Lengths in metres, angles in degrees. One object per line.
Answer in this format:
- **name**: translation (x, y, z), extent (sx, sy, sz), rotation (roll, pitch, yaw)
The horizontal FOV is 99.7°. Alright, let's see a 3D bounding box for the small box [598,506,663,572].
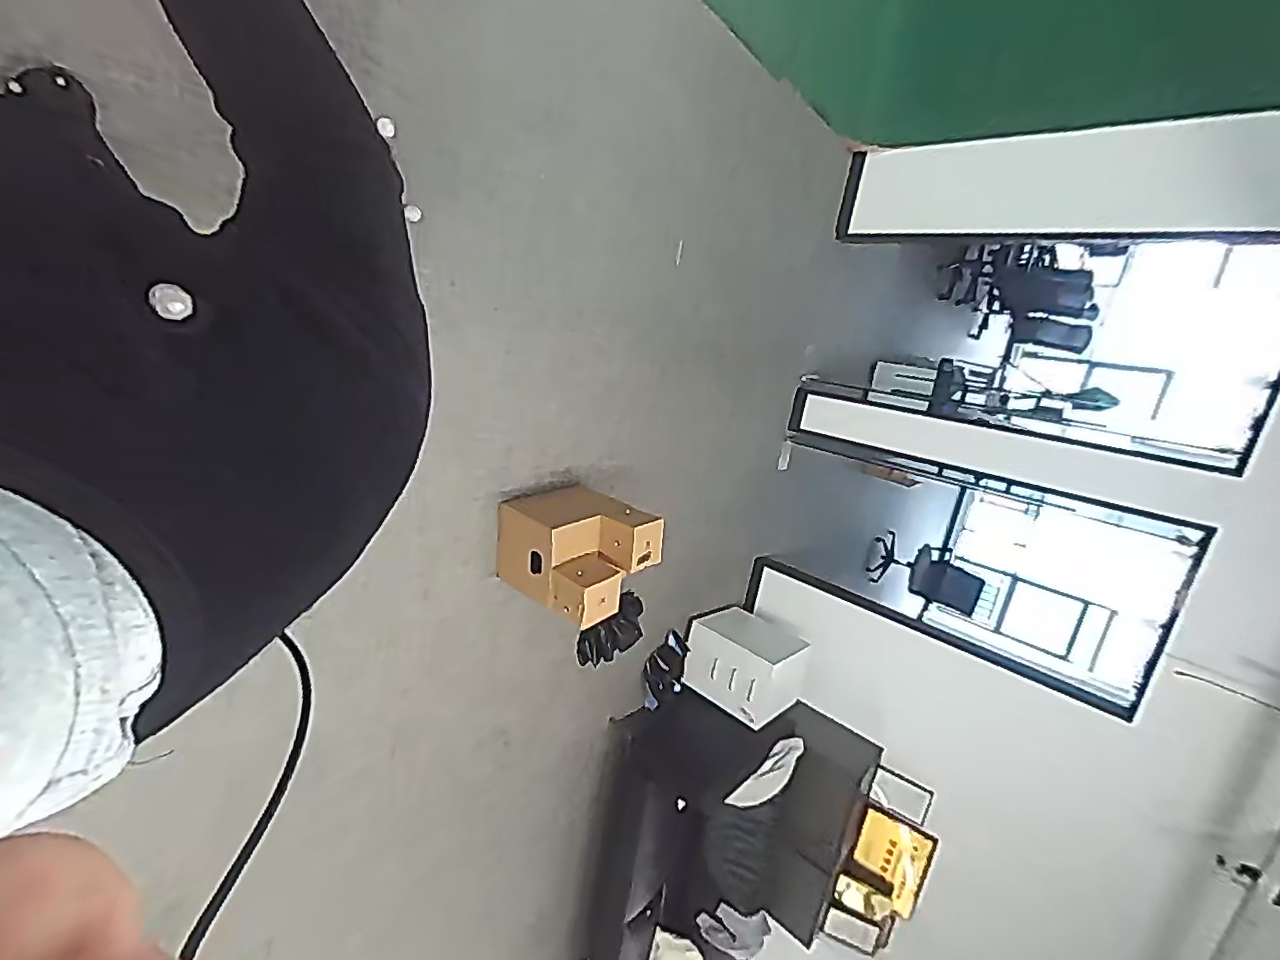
- **small box**: translation (-0.039, 0.212, 1.990), extent (0.168, 0.176, 0.179), rotation (-13, 112, -47)

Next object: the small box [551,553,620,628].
- **small box**: translation (-0.193, 0.377, 1.879), extent (0.179, 0.176, 0.168), rotation (-19, 123, -46)
